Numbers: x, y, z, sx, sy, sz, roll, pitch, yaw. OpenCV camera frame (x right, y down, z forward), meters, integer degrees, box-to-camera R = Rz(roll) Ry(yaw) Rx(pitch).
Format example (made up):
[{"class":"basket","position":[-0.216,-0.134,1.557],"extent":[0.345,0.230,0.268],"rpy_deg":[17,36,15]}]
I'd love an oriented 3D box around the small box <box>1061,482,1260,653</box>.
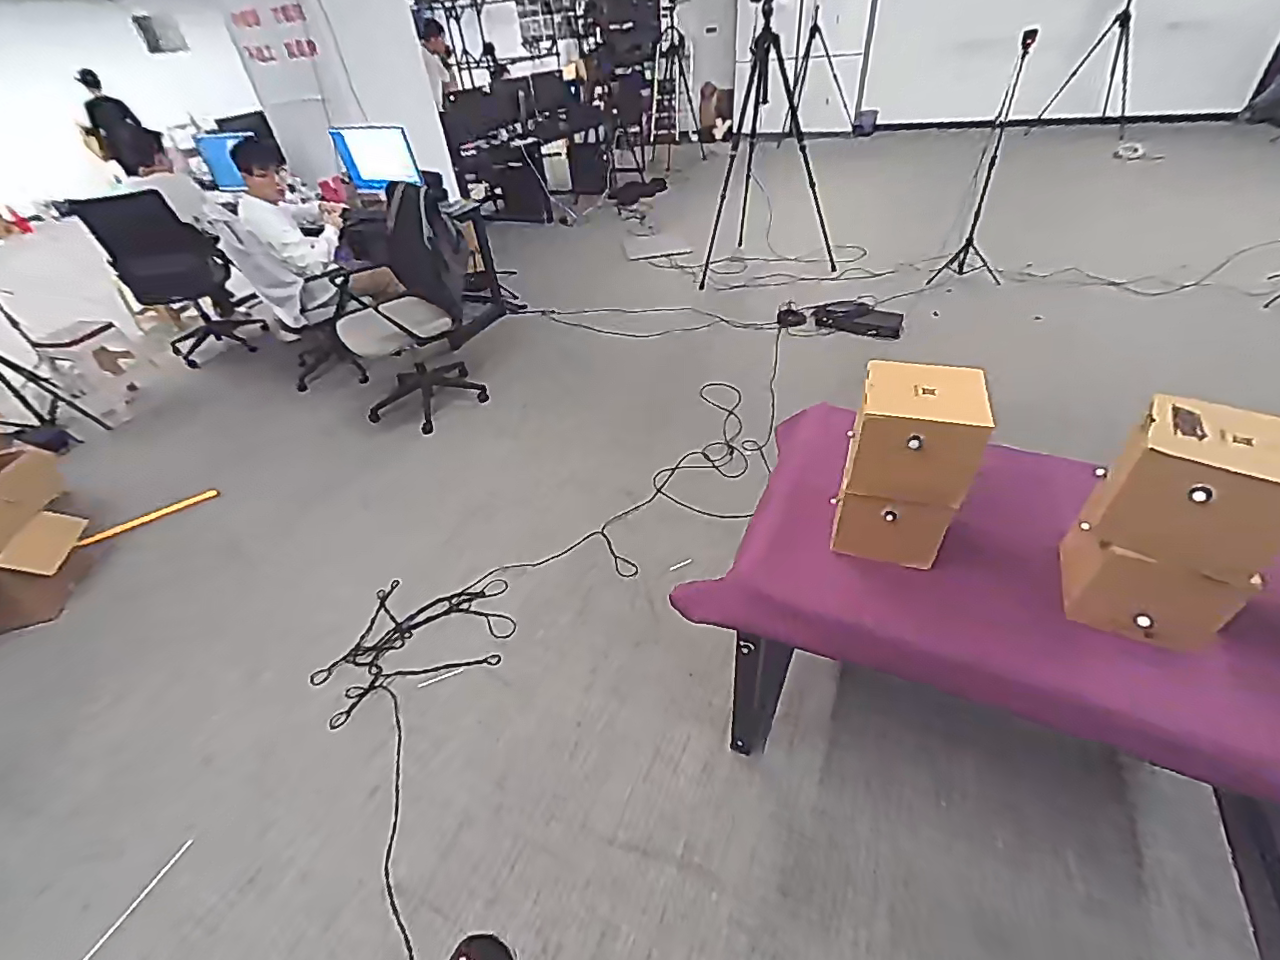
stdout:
[{"class":"small box","position":[0.793,0.134,0.851],"extent":[0.168,0.176,0.179],"rpy_deg":[15,45,24]}]

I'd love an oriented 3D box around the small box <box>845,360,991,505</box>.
[{"class":"small box","position":[0.450,-0.078,0.896],"extent":[0.179,0.176,0.168],"rpy_deg":[9,44,18]}]

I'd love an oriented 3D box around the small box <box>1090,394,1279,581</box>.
[{"class":"small box","position":[0.768,0.008,0.747],"extent":[0.179,0.176,0.168],"rpy_deg":[25,49,31]}]

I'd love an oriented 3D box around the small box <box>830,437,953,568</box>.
[{"class":"small box","position":[0.461,0.041,1.005],"extent":[0.179,0.176,0.168],"rpy_deg":[11,44,19]}]
